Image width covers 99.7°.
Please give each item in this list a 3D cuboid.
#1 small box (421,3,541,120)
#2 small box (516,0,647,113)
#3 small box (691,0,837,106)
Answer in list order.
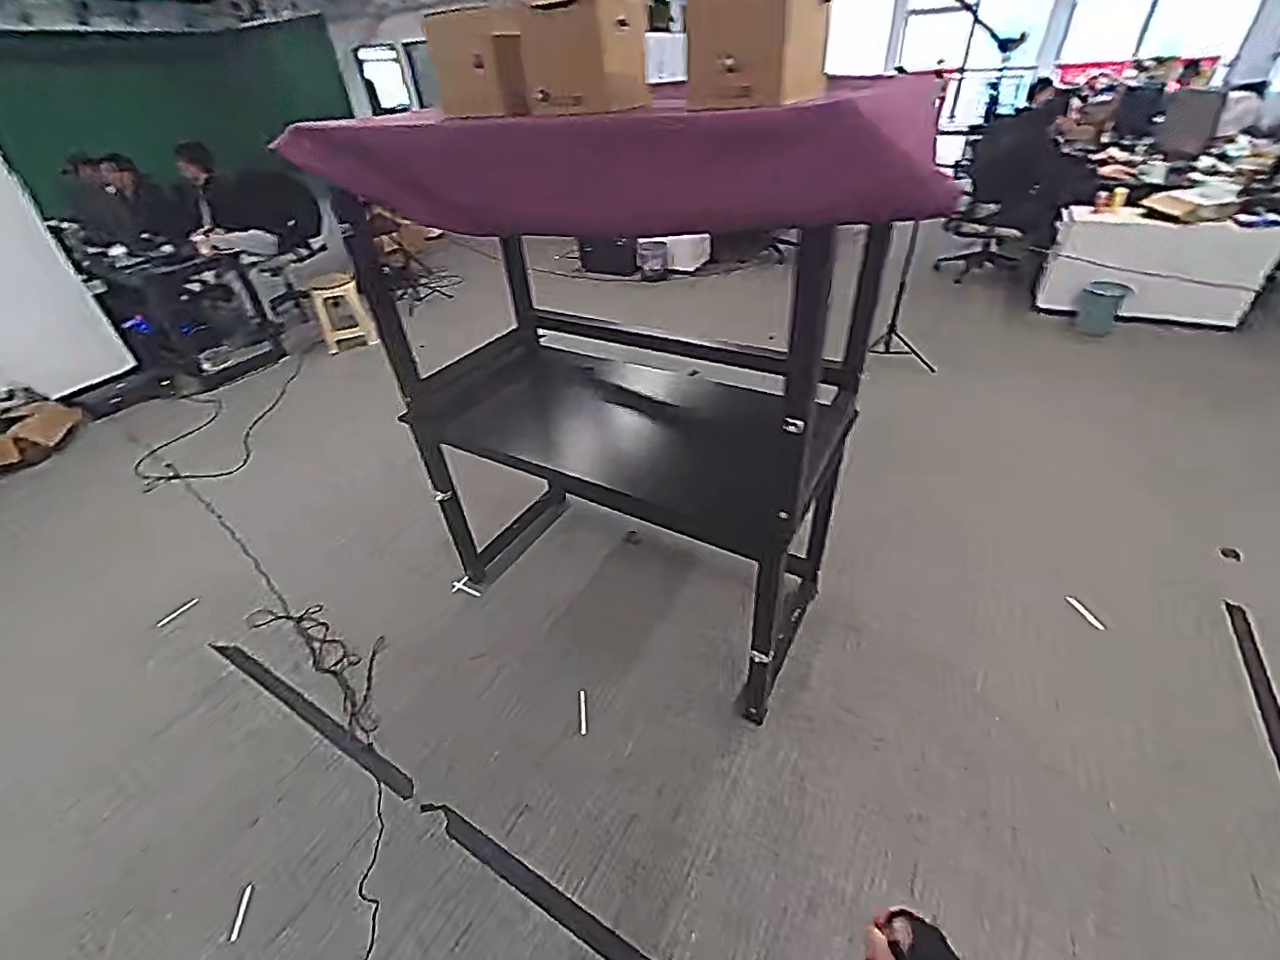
[{"bbox_3d":[-0.296,-0.835,1.086,0.179,0.176,0.168,17,42,26],"label":"small box"},{"bbox_3d":[-0.092,-0.766,0.972,0.168,0.176,0.179,14,40,22],"label":"small box"},{"bbox_3d":[0.183,-0.670,0.813,0.168,0.176,0.179,19,43,29],"label":"small box"}]
